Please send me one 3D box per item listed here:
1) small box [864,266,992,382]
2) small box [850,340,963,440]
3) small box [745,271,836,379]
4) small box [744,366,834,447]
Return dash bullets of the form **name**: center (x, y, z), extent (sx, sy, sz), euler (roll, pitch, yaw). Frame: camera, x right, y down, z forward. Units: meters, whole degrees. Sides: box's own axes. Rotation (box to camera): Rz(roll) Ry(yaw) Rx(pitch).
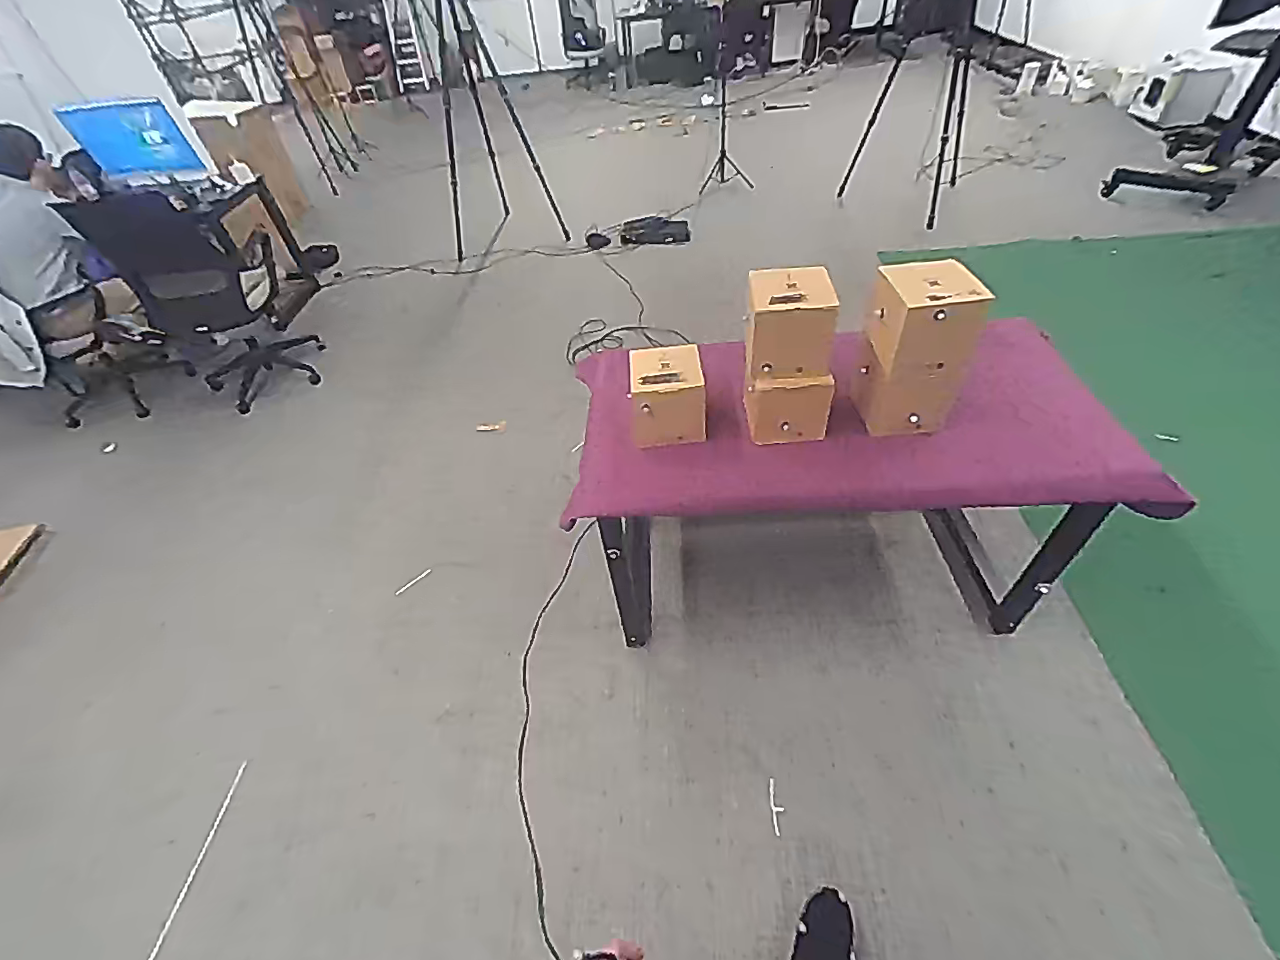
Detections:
- **small box**: center (0.591, -0.329, 1.139), extent (0.168, 0.176, 0.179), euler (-6, 45, 2)
- **small box**: center (0.605, -0.214, 1.256), extent (0.168, 0.176, 0.179), euler (-5, 46, 3)
- **small box**: center (0.320, -0.333, 1.181), extent (0.168, 0.176, 0.179), euler (-1, 46, 6)
- **small box**: center (0.341, -0.197, 1.277), extent (0.168, 0.176, 0.179), euler (-4, 46, 3)
